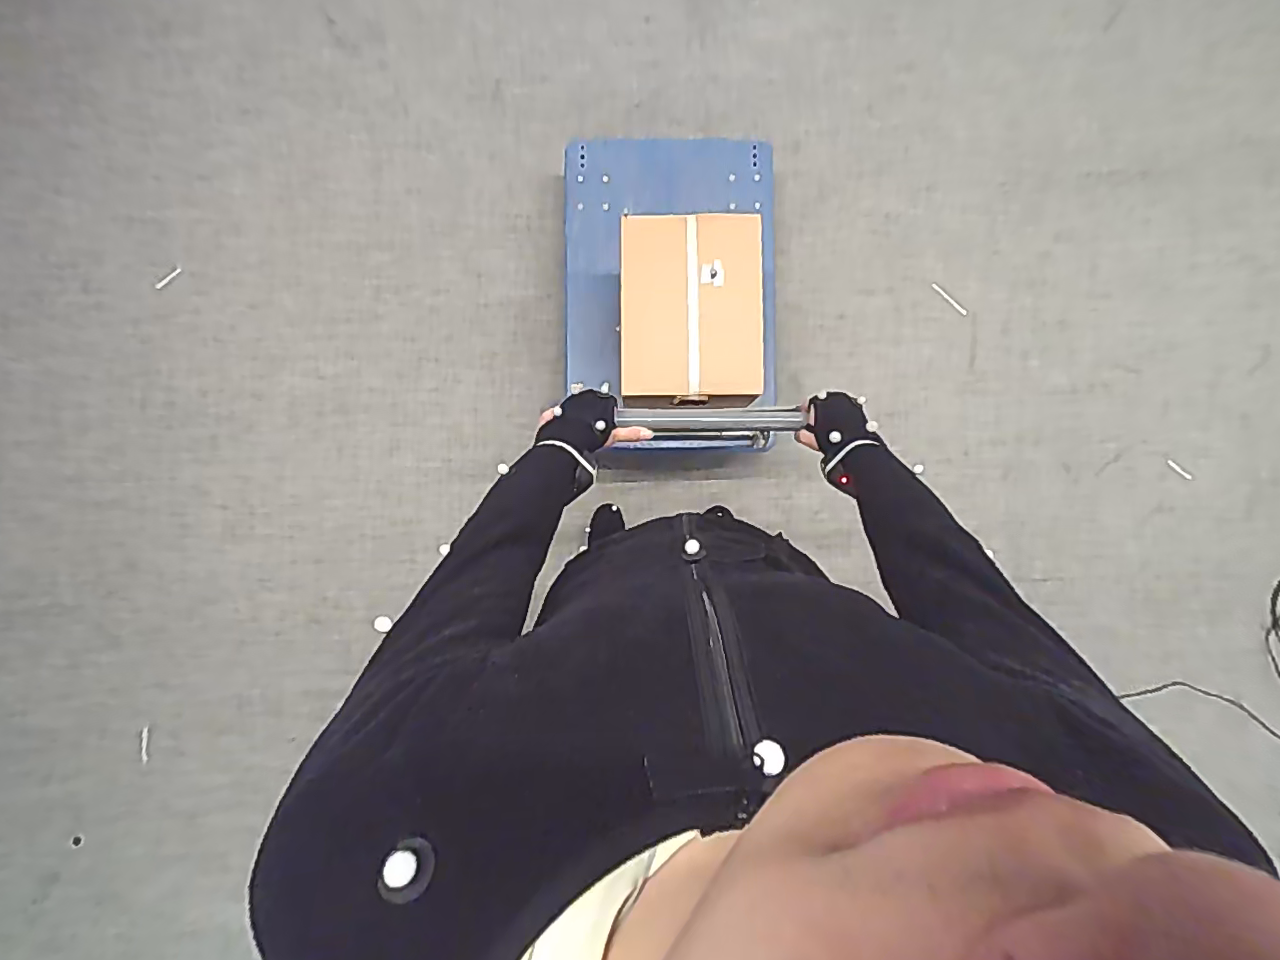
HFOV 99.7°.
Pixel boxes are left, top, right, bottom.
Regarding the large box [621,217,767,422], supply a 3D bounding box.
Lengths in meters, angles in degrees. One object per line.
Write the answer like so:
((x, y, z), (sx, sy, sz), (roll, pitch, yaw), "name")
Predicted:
((0.117, -0.366, 1.321), (0.320, 0.320, 0.408), (0, 87, -1), "large box")
